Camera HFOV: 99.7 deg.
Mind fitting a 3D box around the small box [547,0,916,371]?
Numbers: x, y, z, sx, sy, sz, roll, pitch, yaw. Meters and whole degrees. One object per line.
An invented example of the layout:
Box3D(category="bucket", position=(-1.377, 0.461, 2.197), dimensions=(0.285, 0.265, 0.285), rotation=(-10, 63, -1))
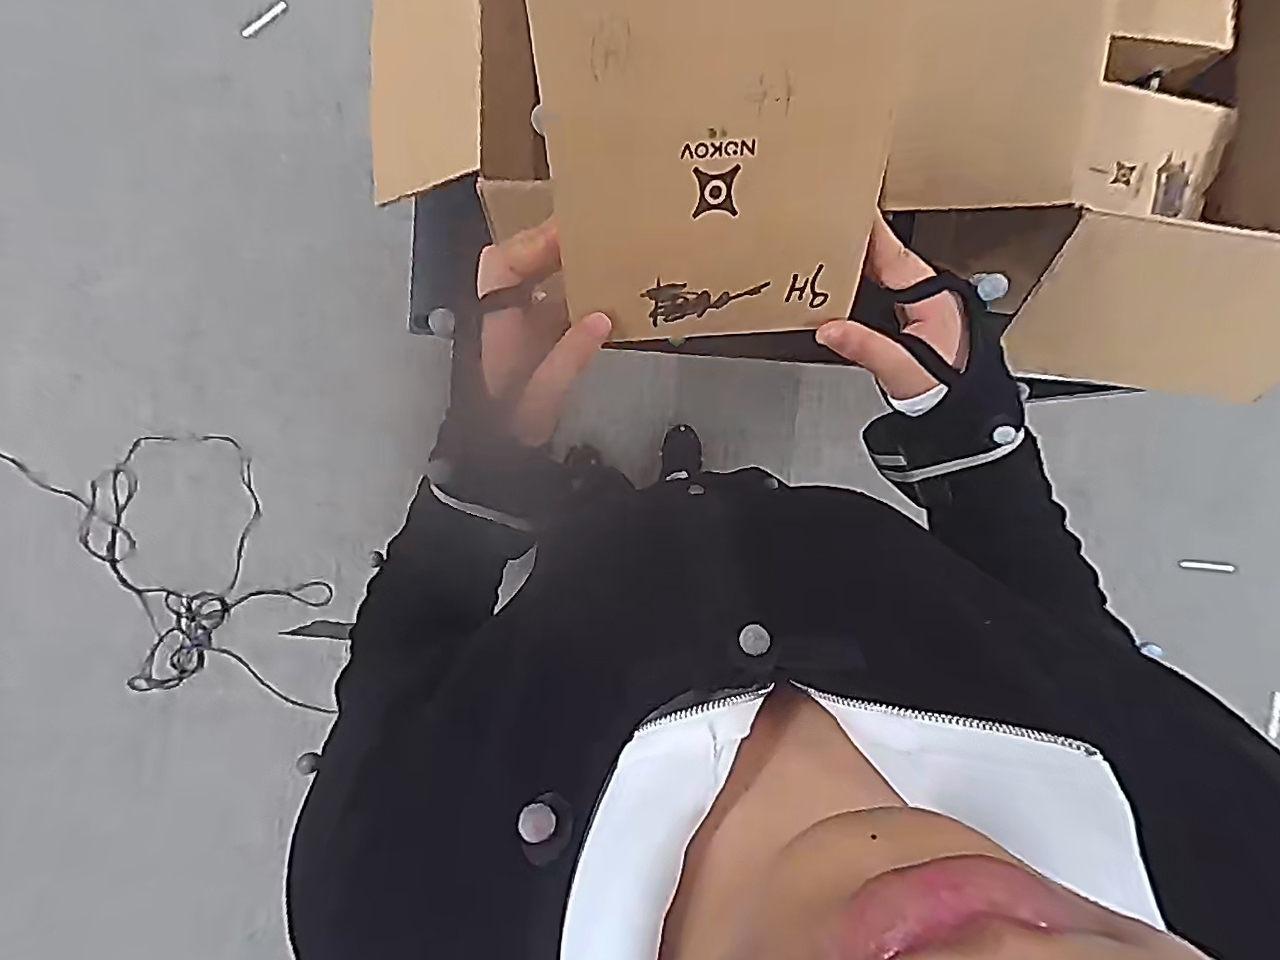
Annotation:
Box3D(category="small box", position=(0.037, -0.190, 0.345), dimensions=(0.168, 0.176, 0.179), rotation=(-4, 131, -1))
